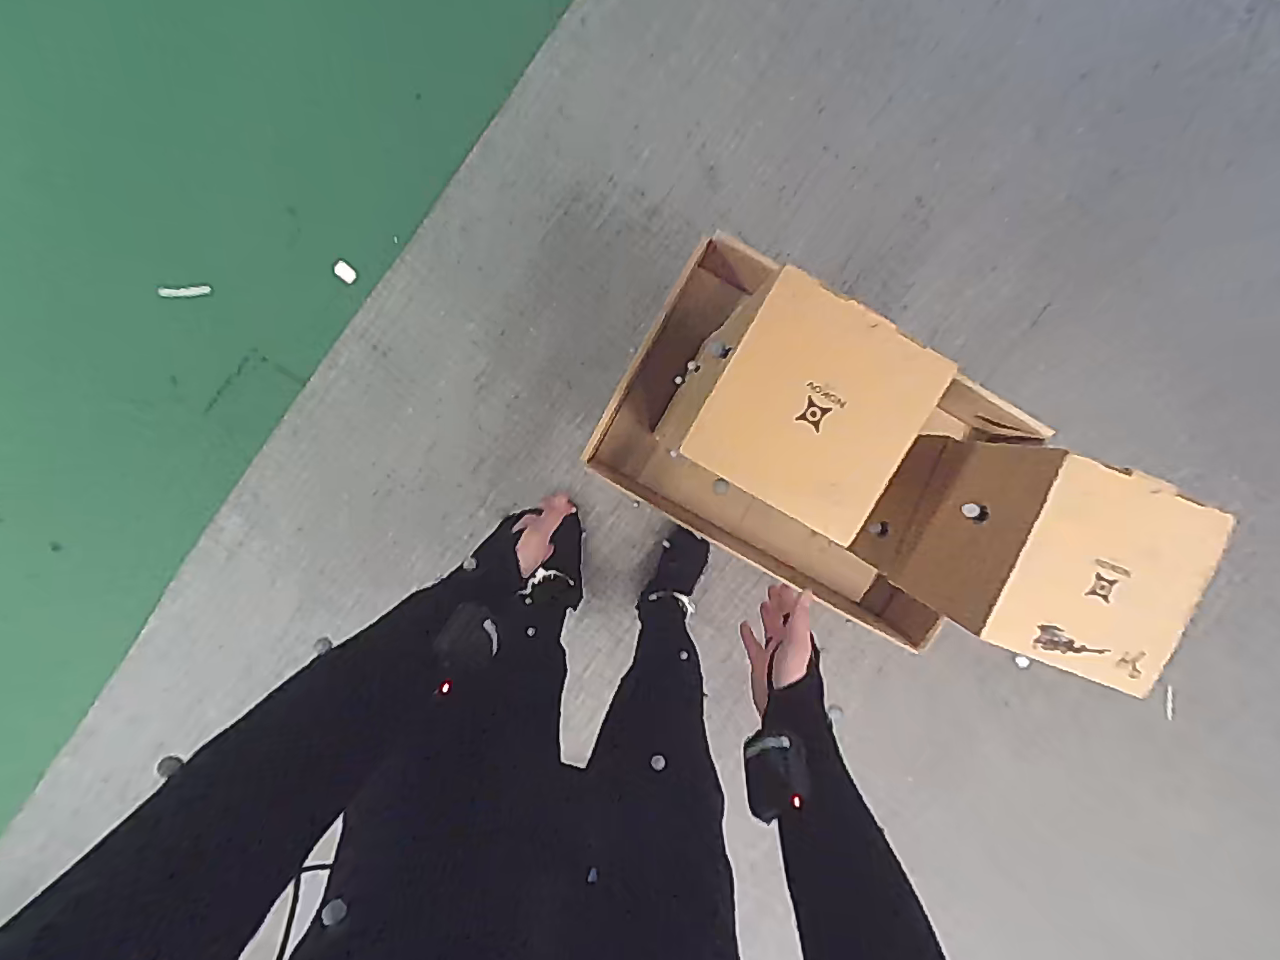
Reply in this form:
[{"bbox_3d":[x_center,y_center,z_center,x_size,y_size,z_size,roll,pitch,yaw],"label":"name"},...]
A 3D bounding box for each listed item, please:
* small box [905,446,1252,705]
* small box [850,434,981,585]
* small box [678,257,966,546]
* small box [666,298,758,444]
[{"bbox_3d":[0.394,0.074,0.524,0.168,0.176,0.179,21,95,-4],"label":"small box"},{"bbox_3d":[0.388,0.052,0.686,0.168,0.176,0.179,22,95,-5],"label":"small box"},{"bbox_3d":[0.146,-0.066,0.506,0.168,0.176,0.179,30,94,-3],"label":"small box"},{"bbox_3d":[0.143,-0.088,0.667,0.168,0.176,0.179,32,93,-4],"label":"small box"}]
